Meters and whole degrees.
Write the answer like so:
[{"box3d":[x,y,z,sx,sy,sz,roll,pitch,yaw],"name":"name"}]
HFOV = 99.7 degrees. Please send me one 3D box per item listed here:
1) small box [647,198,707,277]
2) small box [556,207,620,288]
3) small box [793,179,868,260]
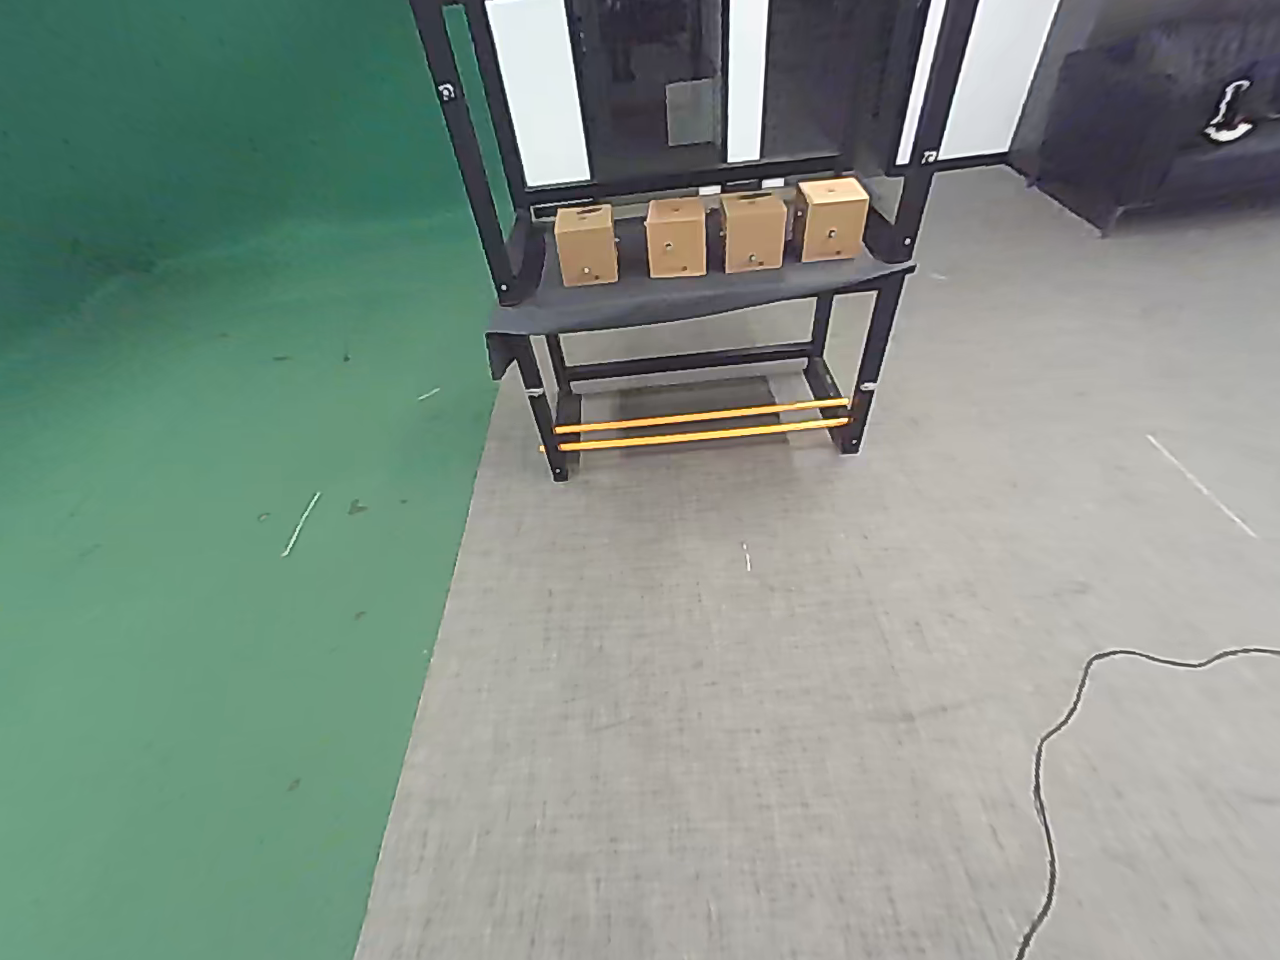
[{"box3d":[0.117,-0.721,1.622,0.168,0.176,0.179,-1,46,7],"name":"small box"},{"box3d":[-0.152,-0.705,1.640,0.168,0.176,0.179,-5,47,3],"name":"small box"},{"box3d":[0.556,-0.763,1.597,0.168,0.176,0.179,-3,45,5],"name":"small box"}]
